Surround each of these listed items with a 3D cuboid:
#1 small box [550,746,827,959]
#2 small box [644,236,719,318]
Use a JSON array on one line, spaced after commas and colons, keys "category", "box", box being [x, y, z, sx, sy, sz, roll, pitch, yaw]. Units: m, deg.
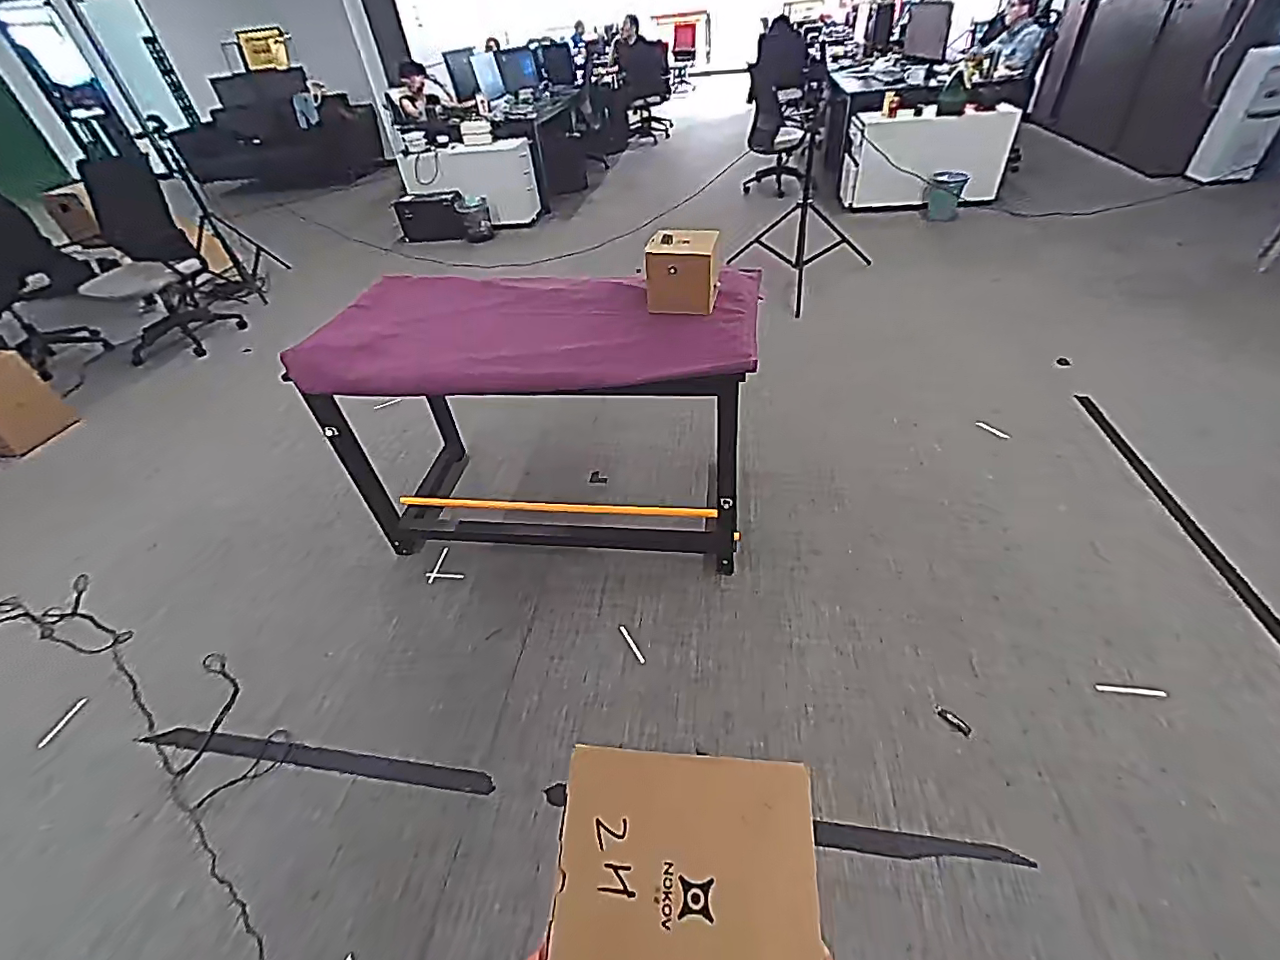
[{"category": "small box", "box": [0.038, 0.313, 0.425, 0.179, 0.176, 0.168, 1, 59, 7]}, {"category": "small box", "box": [0.119, -0.564, 1.502, 0.179, 0.176, 0.168, 7, 45, 13]}]
